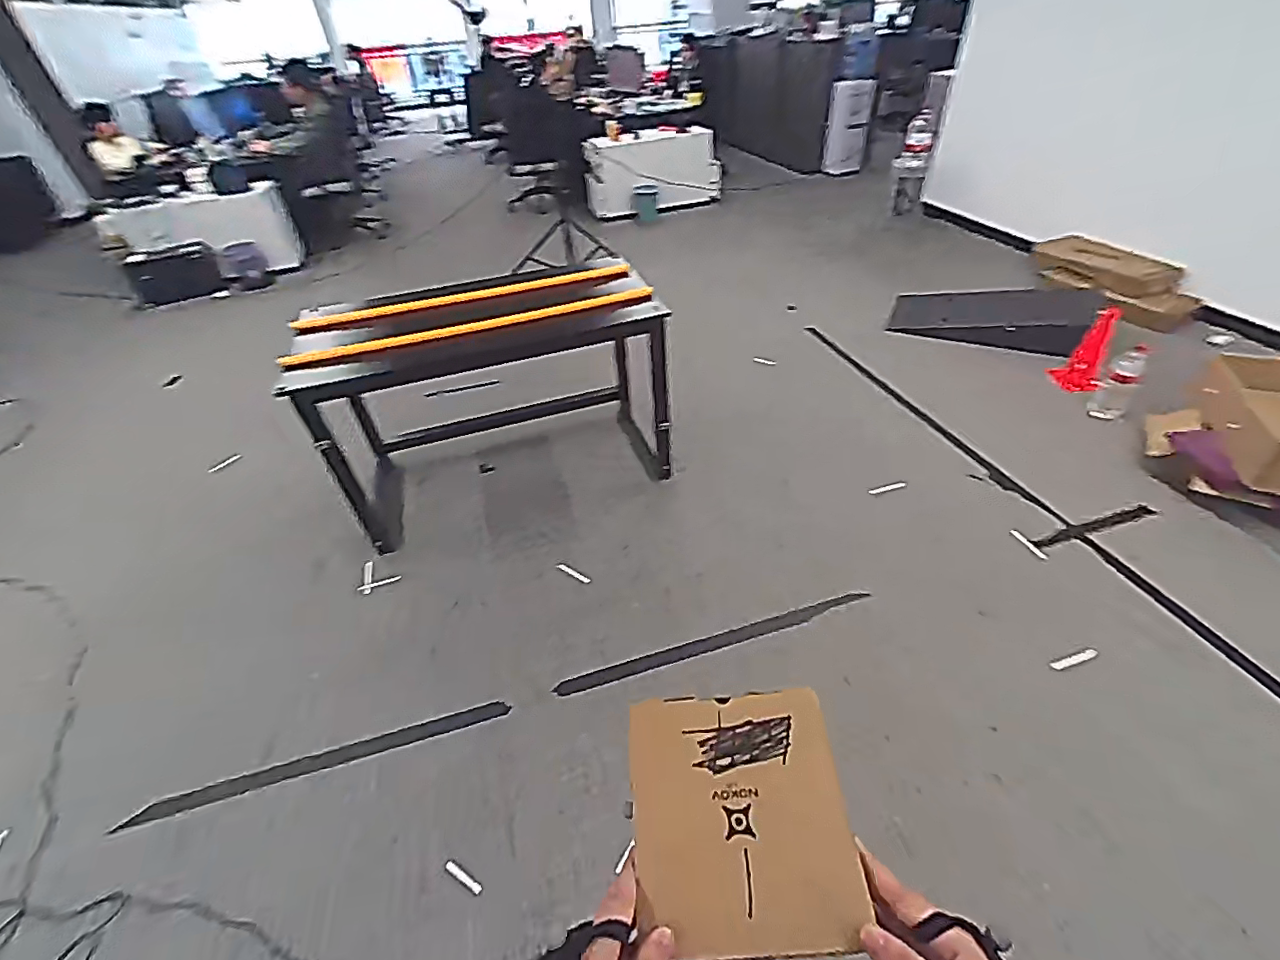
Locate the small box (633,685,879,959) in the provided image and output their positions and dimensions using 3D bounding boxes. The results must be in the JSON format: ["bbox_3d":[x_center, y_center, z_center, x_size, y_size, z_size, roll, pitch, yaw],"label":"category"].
[{"bbox_3d":[0.083,0.306,0.482,0.168,0.176,0.179,-6,48,2],"label":"small box"}]
